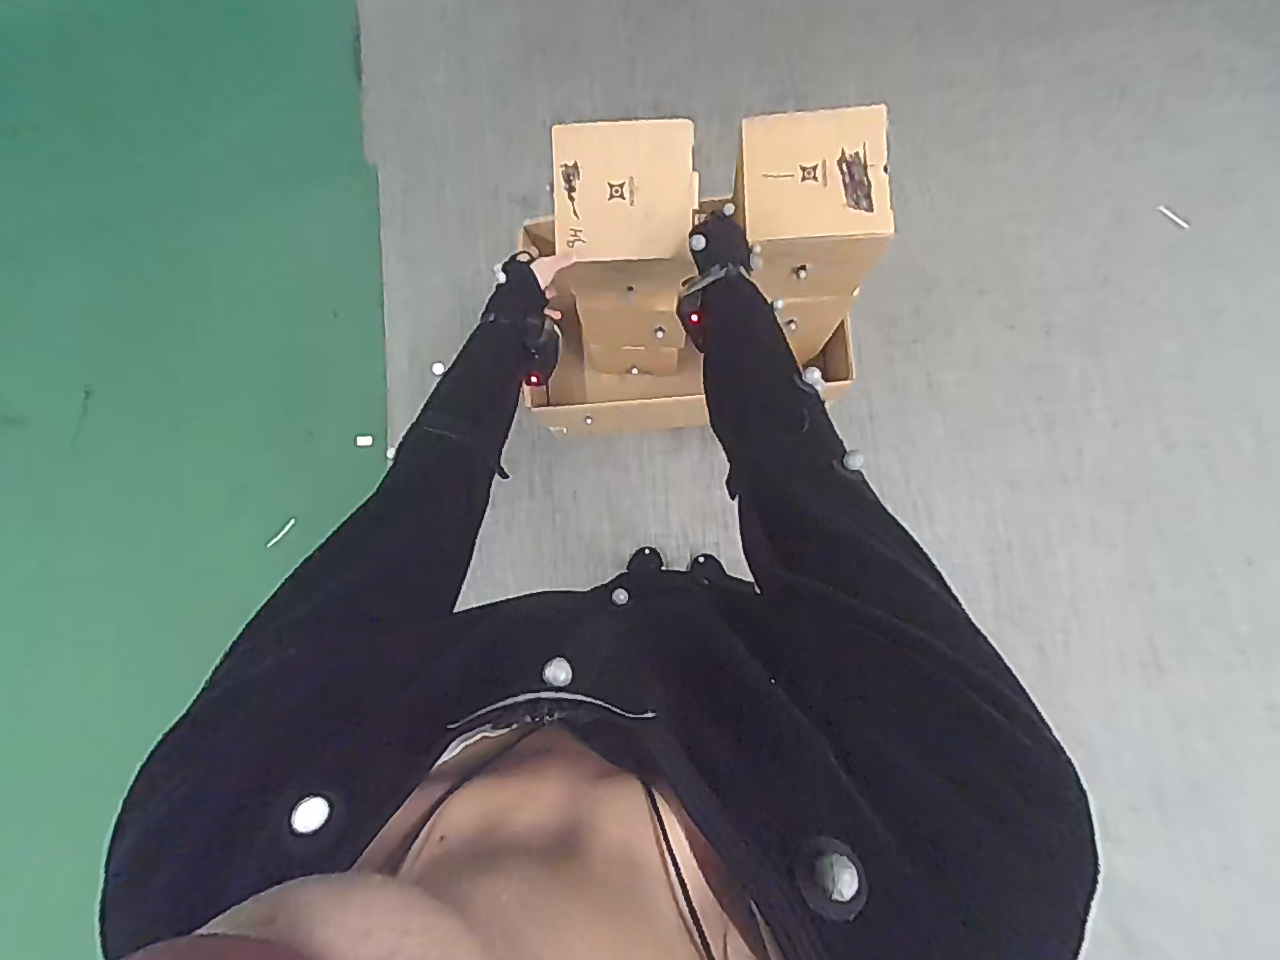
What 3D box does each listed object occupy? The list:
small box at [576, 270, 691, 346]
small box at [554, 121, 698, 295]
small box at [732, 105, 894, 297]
[{"bbox_3d":[-0.006,-0.335,0.913,0.179,0.176,0.168,3,84,2],"label":"small box"},{"bbox_3d":[-0.017,-0.357,0.738,0.179,0.176,0.168,-1,95,1],"label":"small box"},{"bbox_3d":[0.220,-0.360,0.728,0.179,0.176,0.168,-1,84,6],"label":"small box"}]
